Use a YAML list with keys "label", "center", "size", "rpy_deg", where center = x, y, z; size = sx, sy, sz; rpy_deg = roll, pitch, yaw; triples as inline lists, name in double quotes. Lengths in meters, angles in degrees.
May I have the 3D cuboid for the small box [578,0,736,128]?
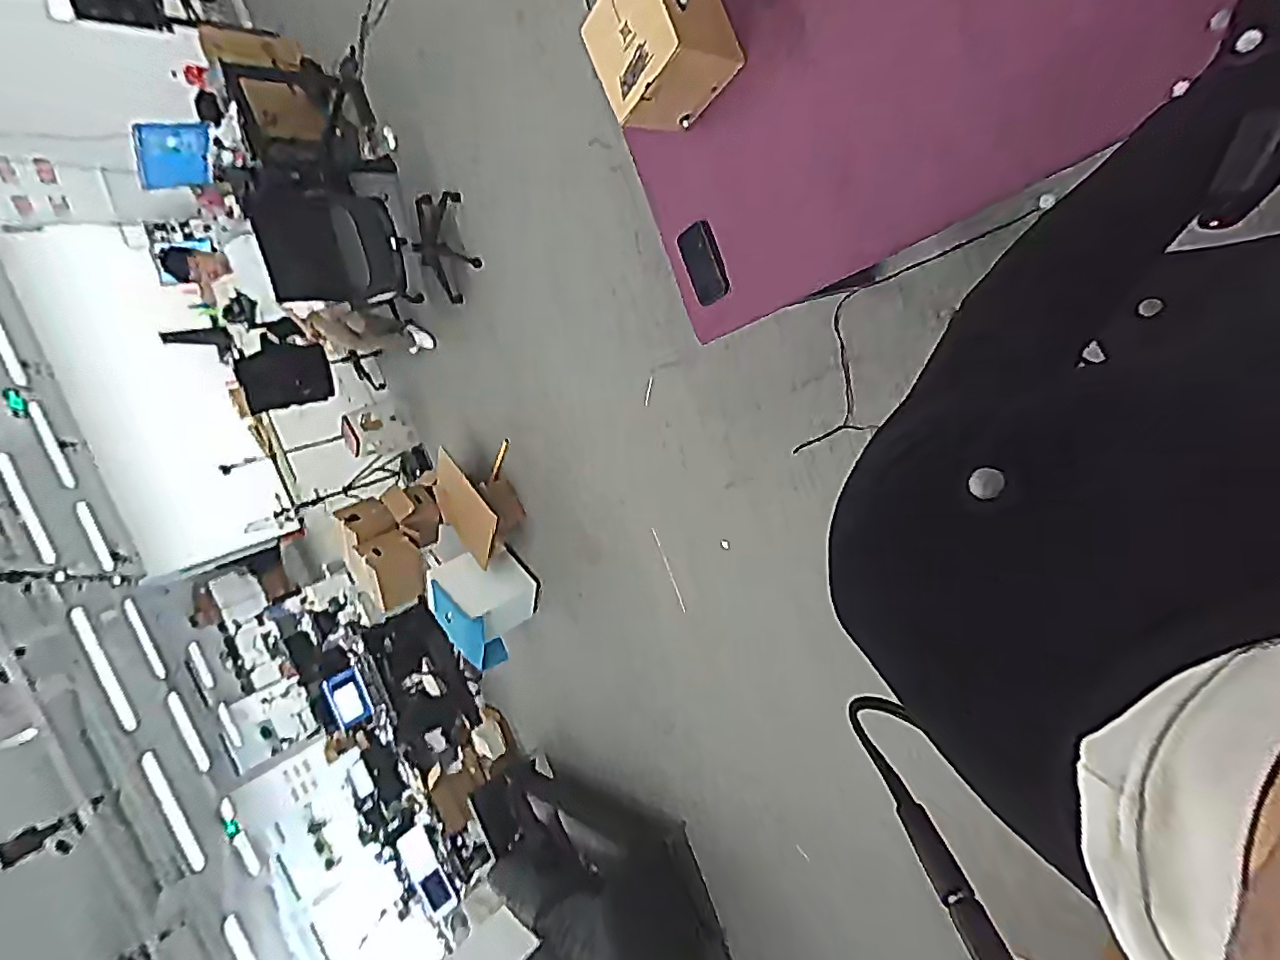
- label: "small box"
  center: [0.032, -0.728, 0.909]
  size: [0.168, 0.176, 0.179]
  rpy_deg: [-21, 92, 51]
